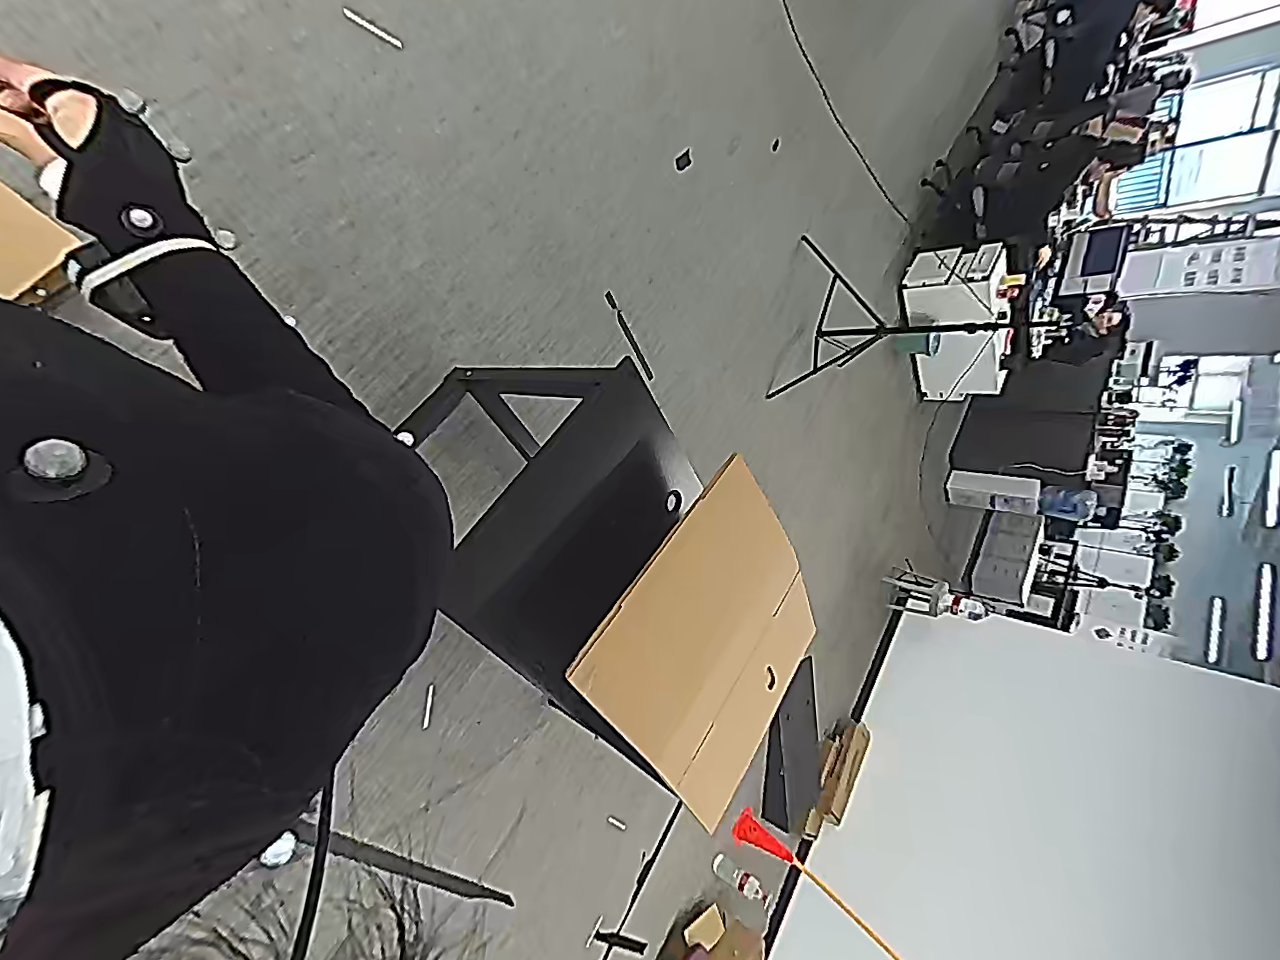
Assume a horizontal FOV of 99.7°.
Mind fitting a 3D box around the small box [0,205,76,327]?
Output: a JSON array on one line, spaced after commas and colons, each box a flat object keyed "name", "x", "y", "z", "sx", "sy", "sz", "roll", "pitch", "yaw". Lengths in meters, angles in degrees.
[{"name": "small box", "x": -1.104, "y": -0.364, "z": 0.895, "sx": 0.179, "sy": 0.176, "sz": 0.168, "roll": -57, "pitch": 133, "yaw": -22}]
